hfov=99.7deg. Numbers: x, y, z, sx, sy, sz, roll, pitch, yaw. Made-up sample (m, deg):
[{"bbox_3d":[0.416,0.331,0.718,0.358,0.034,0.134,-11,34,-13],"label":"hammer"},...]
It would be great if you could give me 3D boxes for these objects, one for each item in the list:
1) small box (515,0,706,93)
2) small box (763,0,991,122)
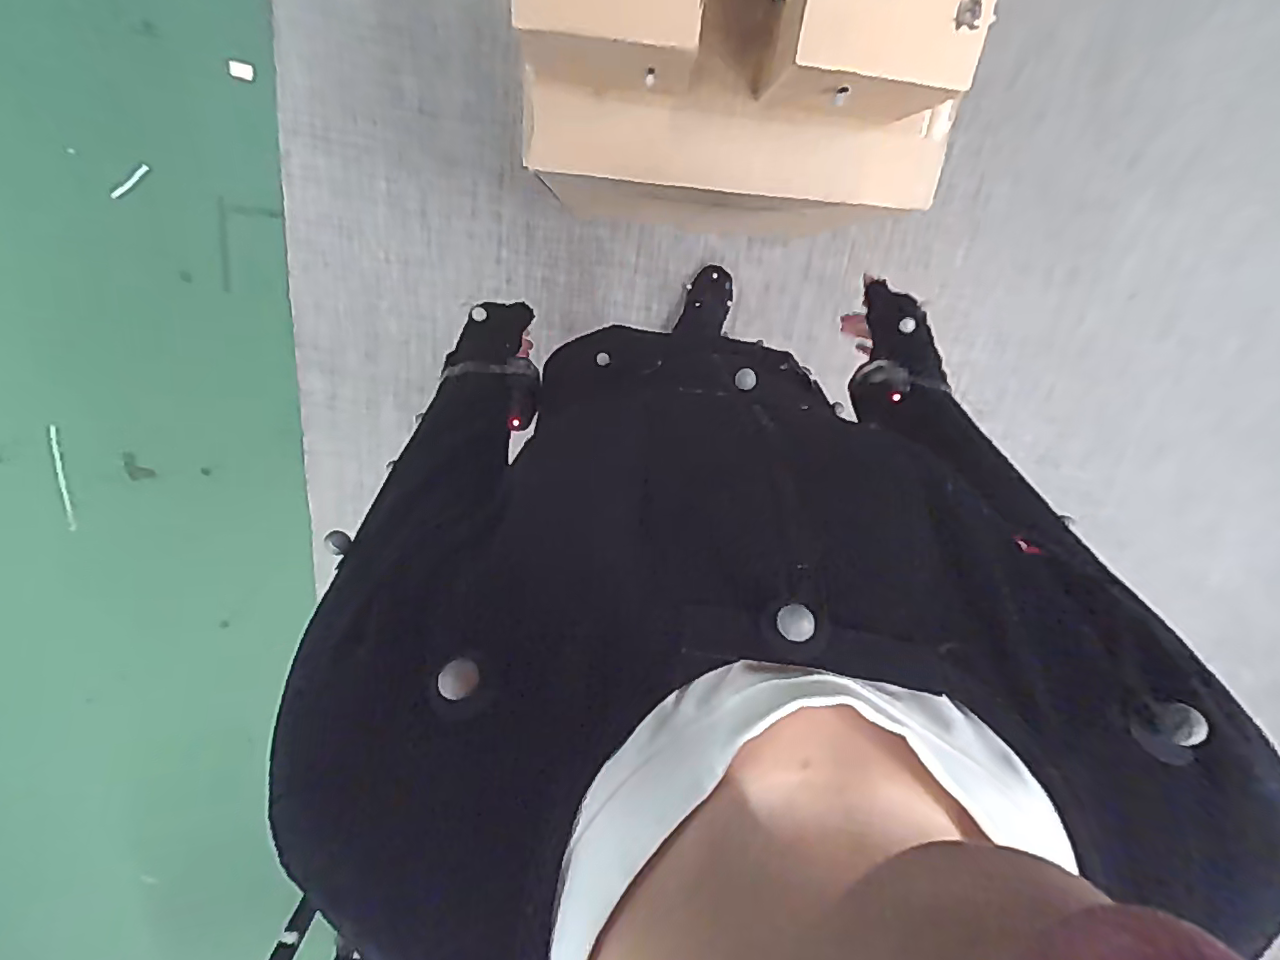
[{"bbox_3d":[-0.023,-0.516,0.549,0.179,0.176,0.168,5,112,-2],"label":"small box"},{"bbox_3d":[0.238,-0.491,0.560,0.179,0.176,0.168,7,114,-2],"label":"small box"}]
